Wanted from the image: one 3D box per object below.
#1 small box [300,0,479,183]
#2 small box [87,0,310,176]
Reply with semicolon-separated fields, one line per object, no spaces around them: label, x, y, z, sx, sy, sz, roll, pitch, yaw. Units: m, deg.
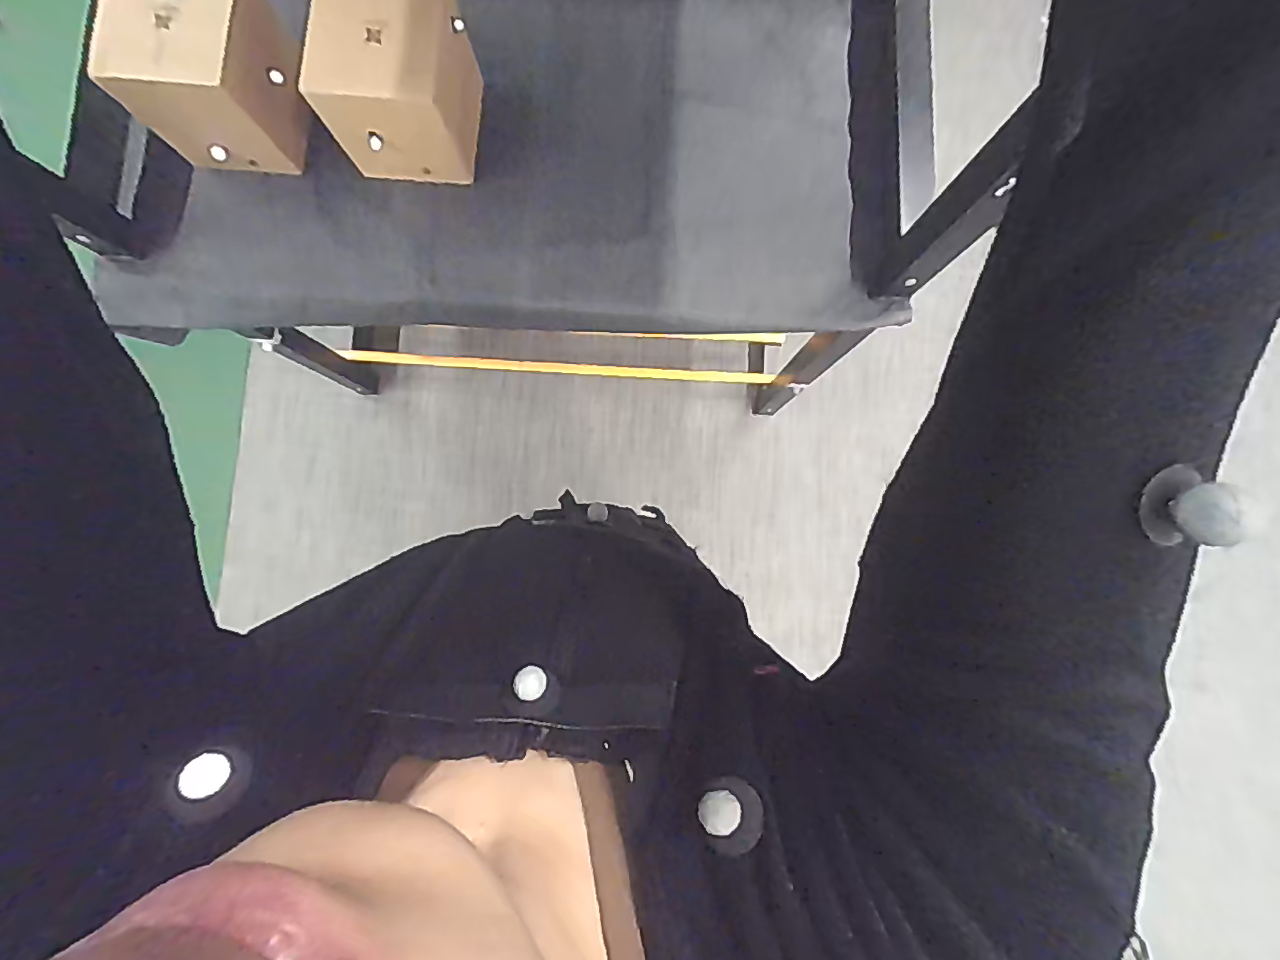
small box;-0.332;-0.545;0.751;0.168;0.176;0.179;4;84;-1
small box;-0.585;-0.560;0.744;0.168;0.176;0.179;4;85;-1
